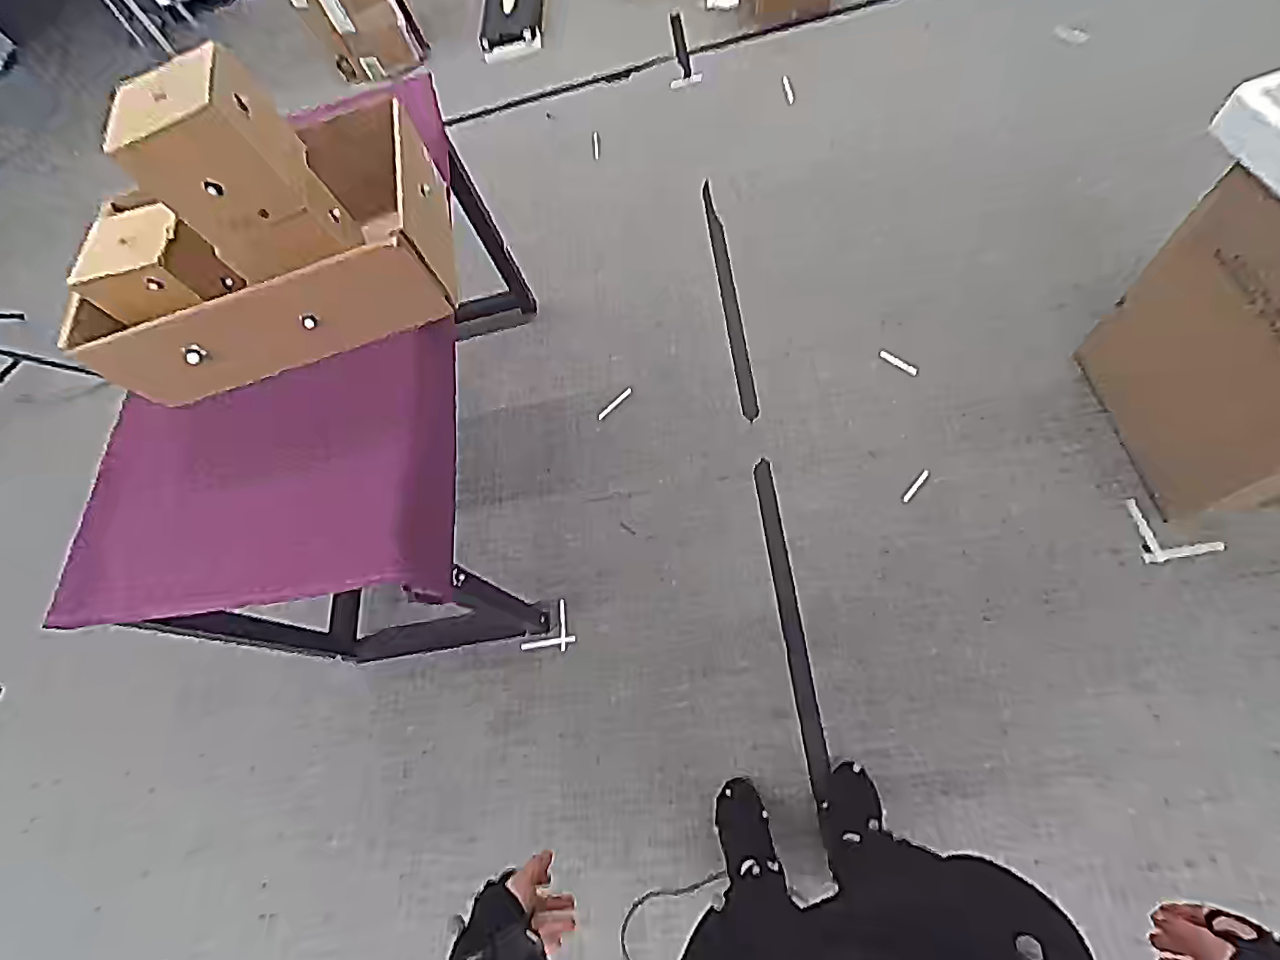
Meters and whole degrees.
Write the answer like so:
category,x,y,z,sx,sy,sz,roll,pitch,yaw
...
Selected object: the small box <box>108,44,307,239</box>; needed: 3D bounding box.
category,x,y,z,sx,sy,sz,roll,pitch,yaw
small box,-0.638,-0.497,0.820,0.168,0.176,0.179,-21,63,4
